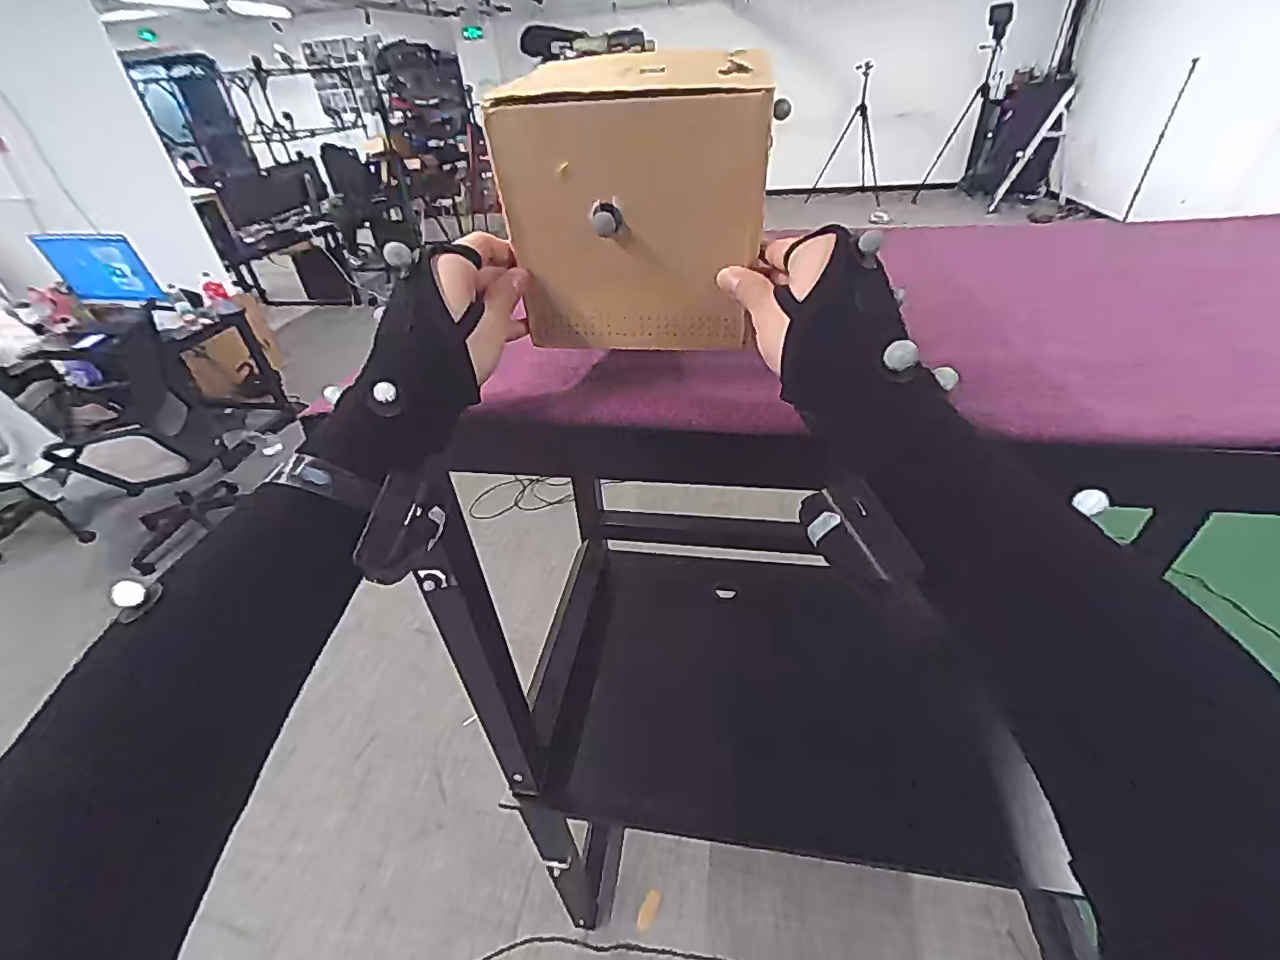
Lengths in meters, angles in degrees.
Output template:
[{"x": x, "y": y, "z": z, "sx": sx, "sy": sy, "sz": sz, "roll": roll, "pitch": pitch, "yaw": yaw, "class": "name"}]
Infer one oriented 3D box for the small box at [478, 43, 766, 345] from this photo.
[{"x": 0.005, "y": -0.218, "z": 0.423, "sx": 0.179, "sy": 0.176, "sz": 0.168, "roll": 2, "pitch": 44, "yaw": 10, "class": "small box"}]
